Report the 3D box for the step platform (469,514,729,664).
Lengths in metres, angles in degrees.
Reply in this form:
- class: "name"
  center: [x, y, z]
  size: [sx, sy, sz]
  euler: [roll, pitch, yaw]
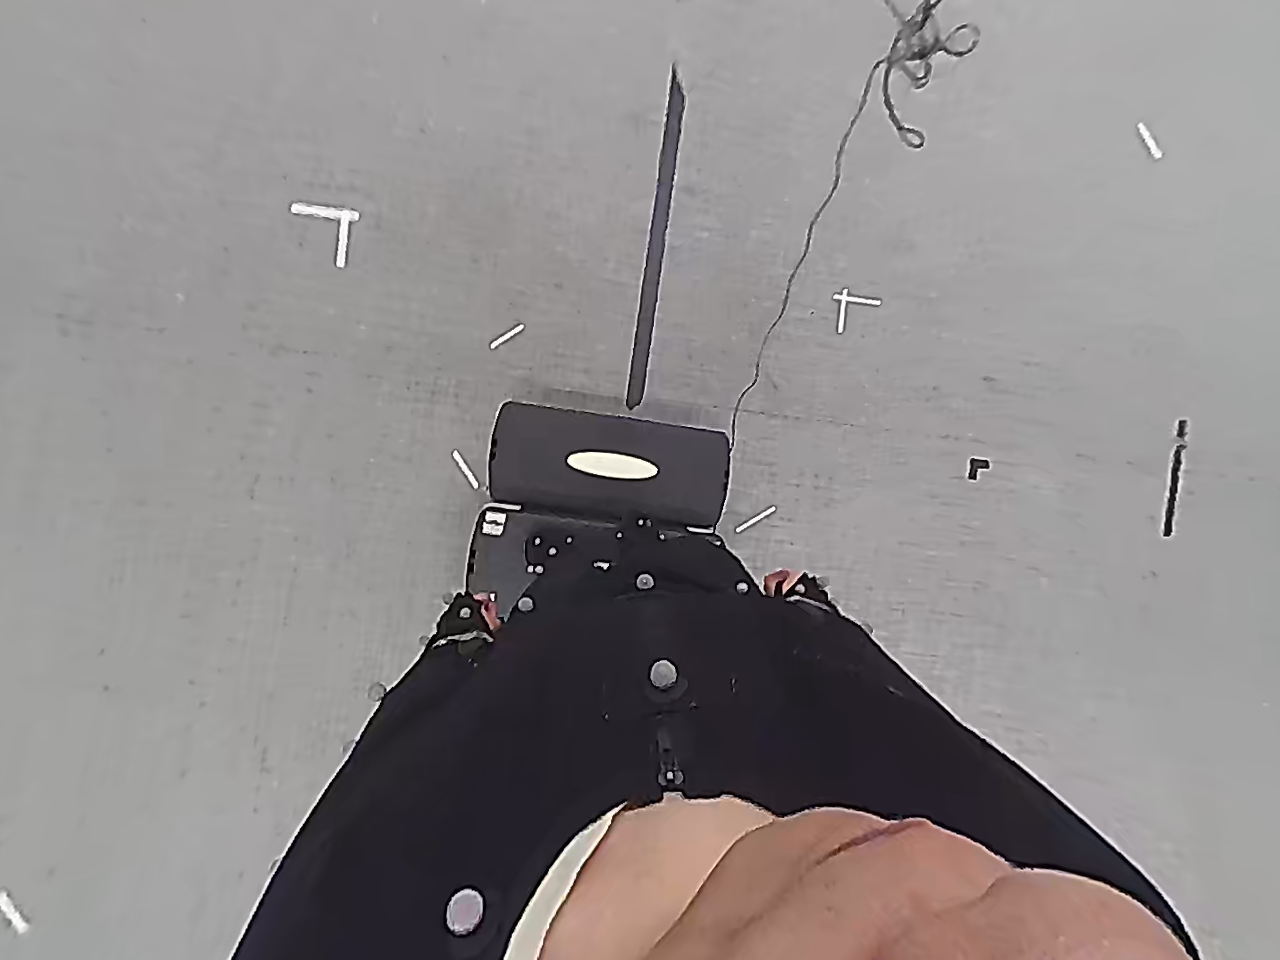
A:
- class: "step platform"
  center: [-0.104, 0.292, 1.468]
  size: [0.684, 0.204, 0.286]
  euler: [12, 86, -5]
